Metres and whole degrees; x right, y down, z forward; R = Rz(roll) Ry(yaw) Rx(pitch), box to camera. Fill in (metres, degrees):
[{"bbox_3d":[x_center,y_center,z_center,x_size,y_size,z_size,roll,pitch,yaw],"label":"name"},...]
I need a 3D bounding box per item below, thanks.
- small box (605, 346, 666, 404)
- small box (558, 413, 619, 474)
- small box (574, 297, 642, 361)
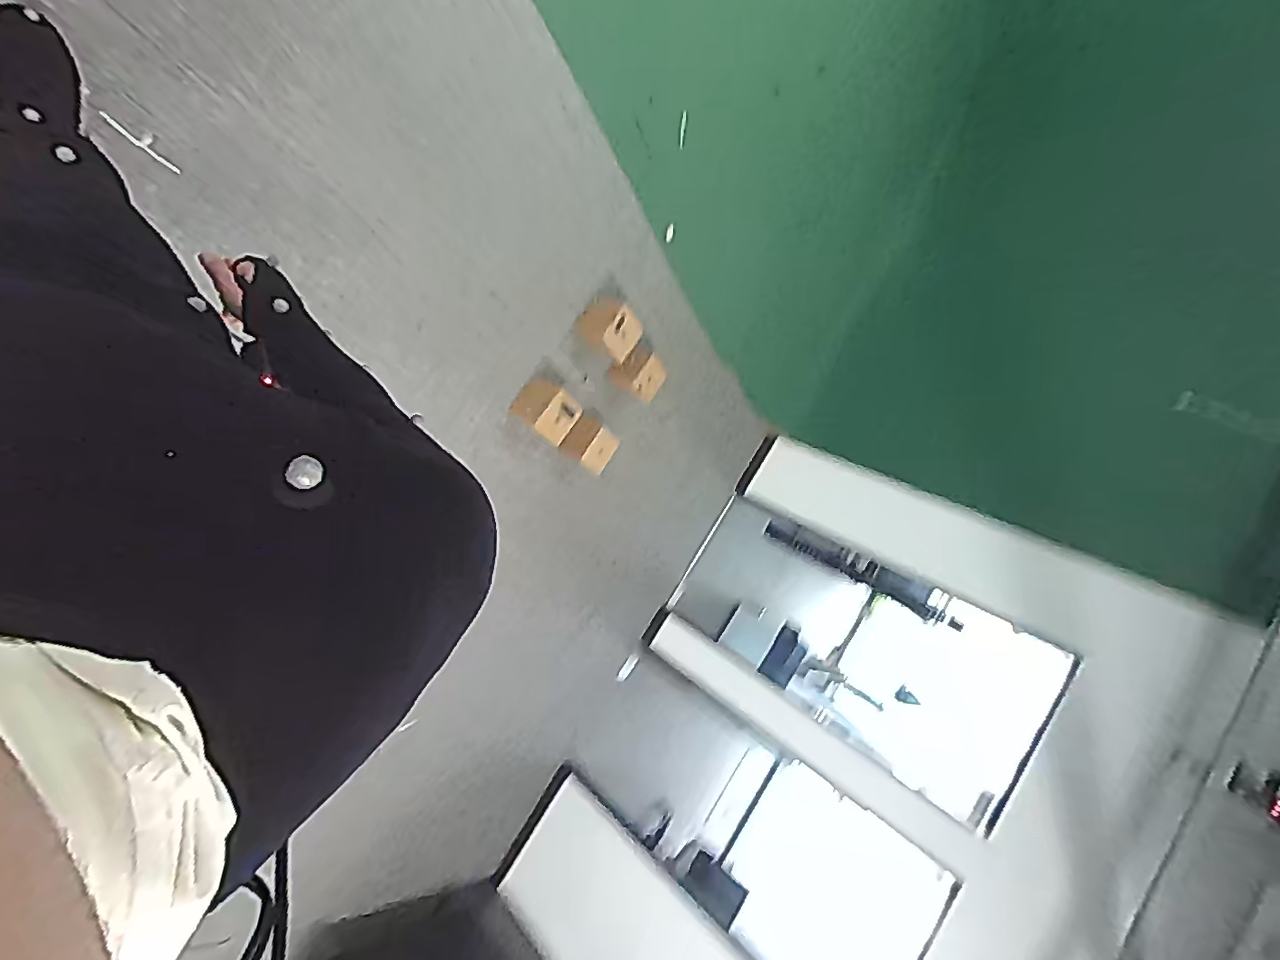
[{"bbox_3d":[-0.022,-0.470,2.372,0.179,0.176,0.168,-56,145,-9],"label":"small box"},{"bbox_3d":[-0.228,-0.157,2.324,0.179,0.176,0.168,-57,147,-7],"label":"small box"},{"bbox_3d":[-0.129,-0.602,2.138,0.168,0.176,0.179,-56,146,-7],"label":"small box"}]
